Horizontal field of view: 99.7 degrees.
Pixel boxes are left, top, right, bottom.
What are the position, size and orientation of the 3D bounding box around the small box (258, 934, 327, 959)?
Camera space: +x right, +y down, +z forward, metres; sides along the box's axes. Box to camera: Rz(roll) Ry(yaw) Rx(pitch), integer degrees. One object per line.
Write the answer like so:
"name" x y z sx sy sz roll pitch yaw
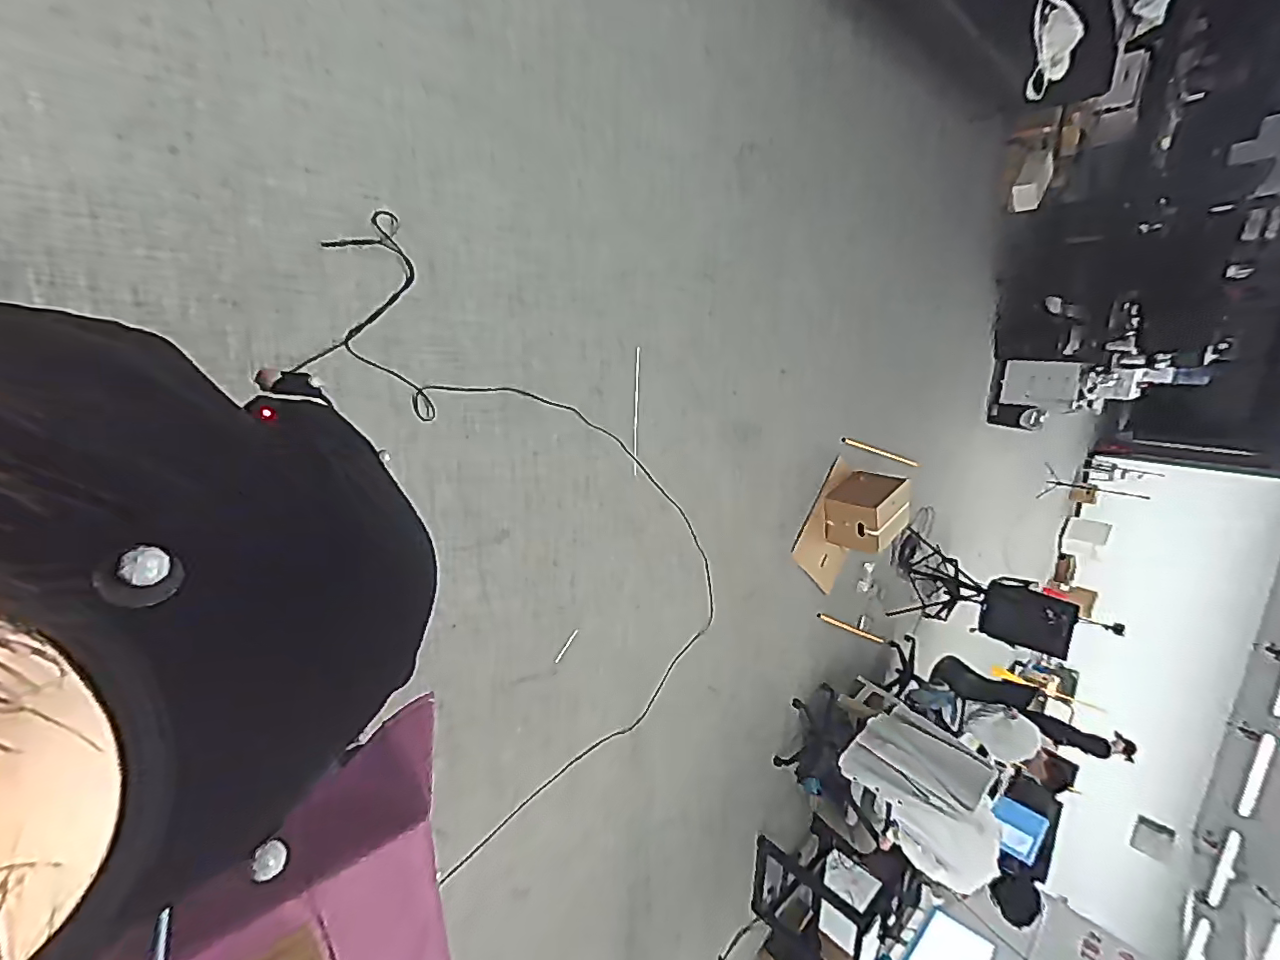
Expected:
"small box" -0.495 0.769 0.722 0.168 0.176 0.179 -13 110 -40
